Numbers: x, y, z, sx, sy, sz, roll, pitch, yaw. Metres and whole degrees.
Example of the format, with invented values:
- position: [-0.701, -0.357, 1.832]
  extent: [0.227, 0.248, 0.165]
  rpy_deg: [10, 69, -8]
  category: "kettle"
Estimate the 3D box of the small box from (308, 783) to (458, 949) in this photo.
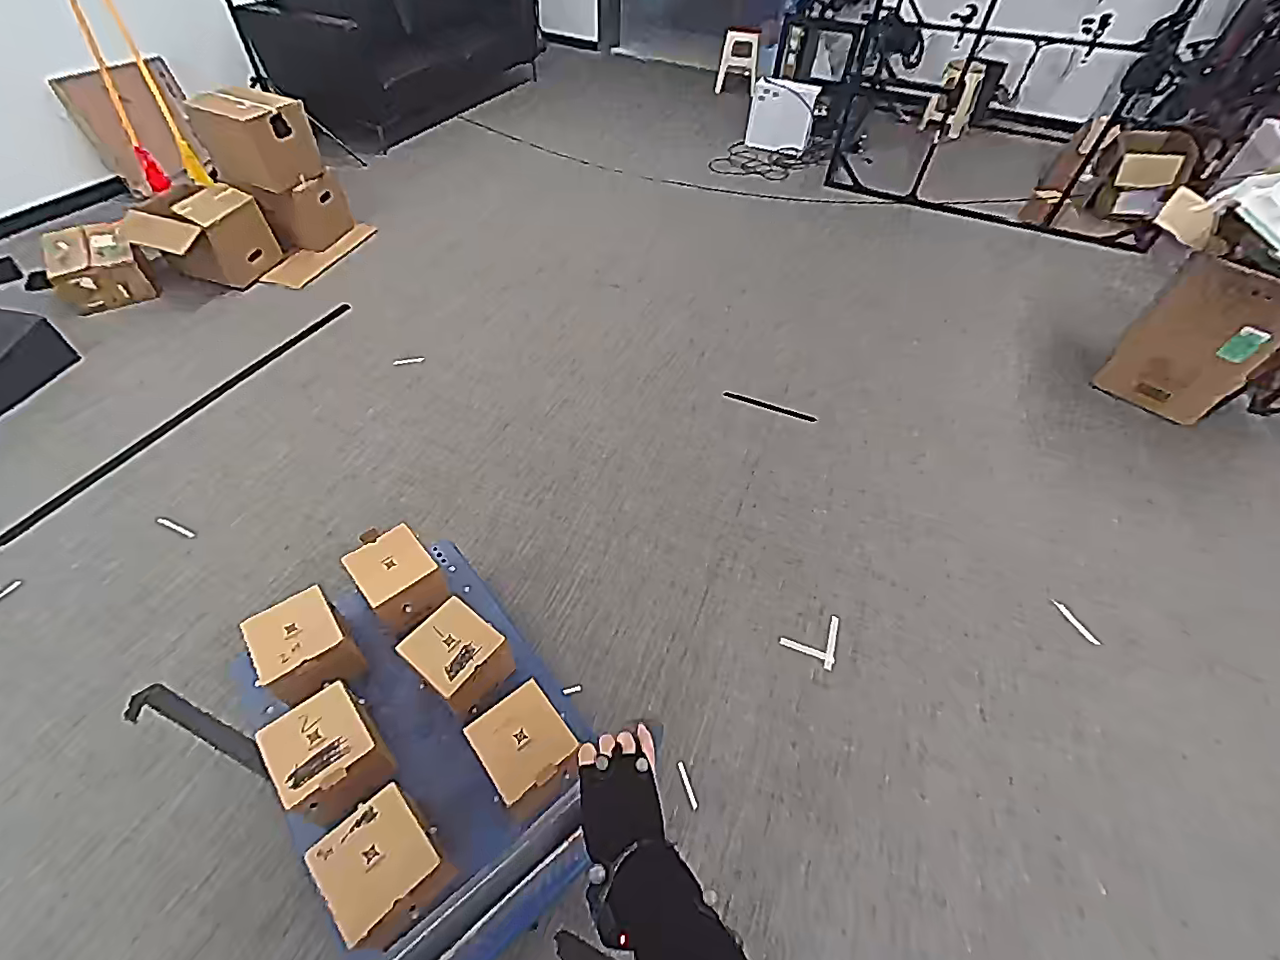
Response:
- position: [-0.456, 0.698, 0.984]
  extent: [0.168, 0.176, 0.179]
  rpy_deg: [-34, 61, -30]
  category: "small box"

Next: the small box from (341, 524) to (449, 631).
- position: [-0.604, 0.252, 1.354]
  extent: [0.168, 0.176, 0.179]
  rpy_deg: [-35, 60, -29]
  category: "small box"

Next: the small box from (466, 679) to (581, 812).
- position: [-0.234, 0.558, 1.126]
  extent: [0.168, 0.176, 0.179]
  rpy_deg: [-31, 58, -28]
  category: "small box"

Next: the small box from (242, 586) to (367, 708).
- position: [-0.755, 0.381, 1.228]
  extent: [0.168, 0.176, 0.179]
  rpy_deg: [-30, 59, -26]
  category: "small box"

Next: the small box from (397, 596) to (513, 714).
- position: [-0.413, 0.408, 1.237]
  extent: [0.179, 0.176, 0.168]
  rpy_deg: [31, 54, 21]
  category: "small box"
